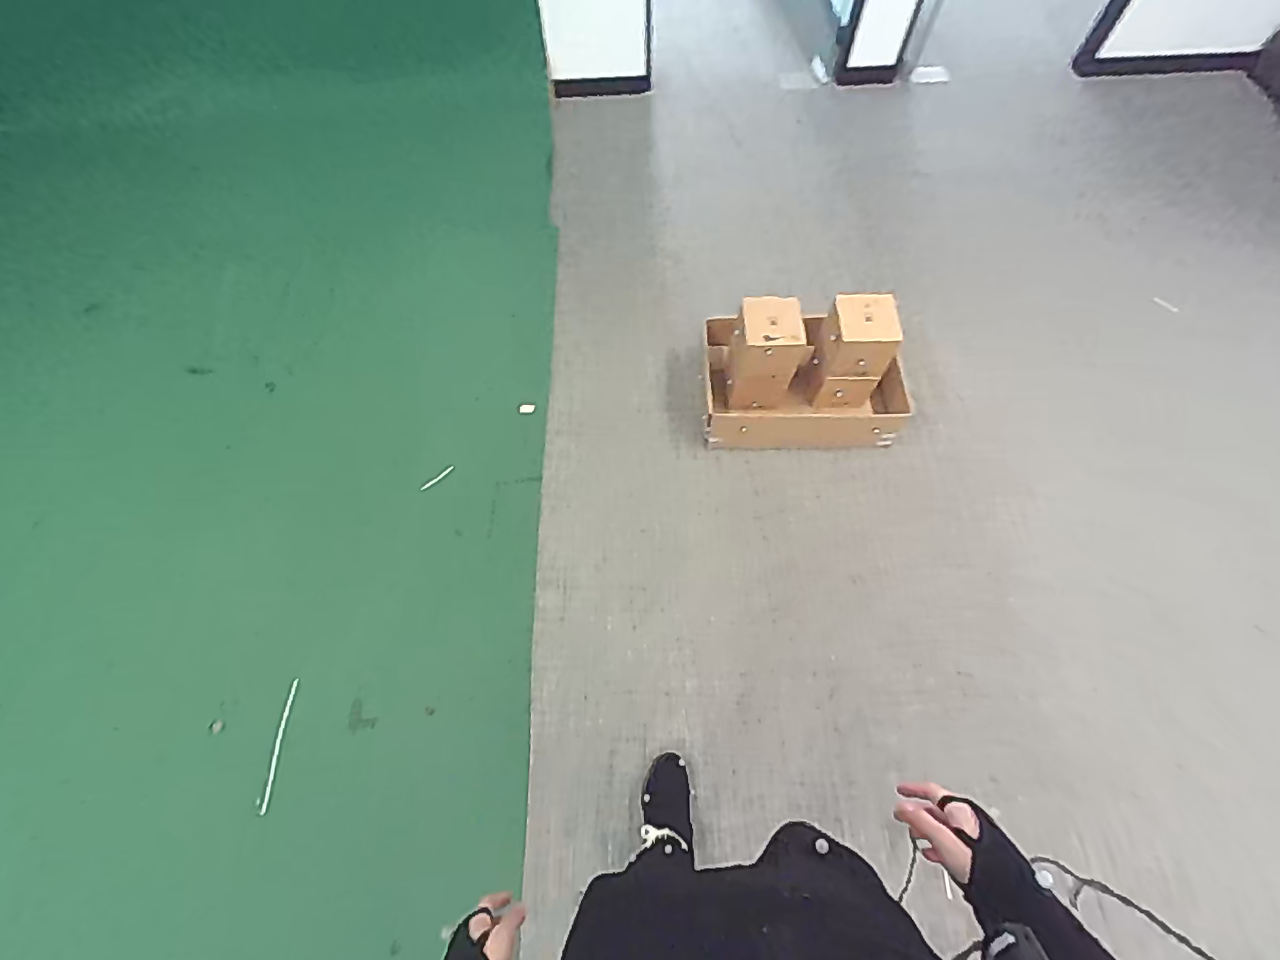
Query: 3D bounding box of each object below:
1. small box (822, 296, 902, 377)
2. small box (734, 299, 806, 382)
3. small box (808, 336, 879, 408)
[{"bbox_3d":[0.648,-0.420,1.601,0.168,0.176,0.179,1,64,2],"label":"small box"},{"bbox_3d":[0.377,-0.411,1.599,0.168,0.176,0.179,-1,64,1],"label":"small box"},{"bbox_3d":[0.651,-0.345,1.748,0.168,0.176,0.179,0,64,2],"label":"small box"}]
